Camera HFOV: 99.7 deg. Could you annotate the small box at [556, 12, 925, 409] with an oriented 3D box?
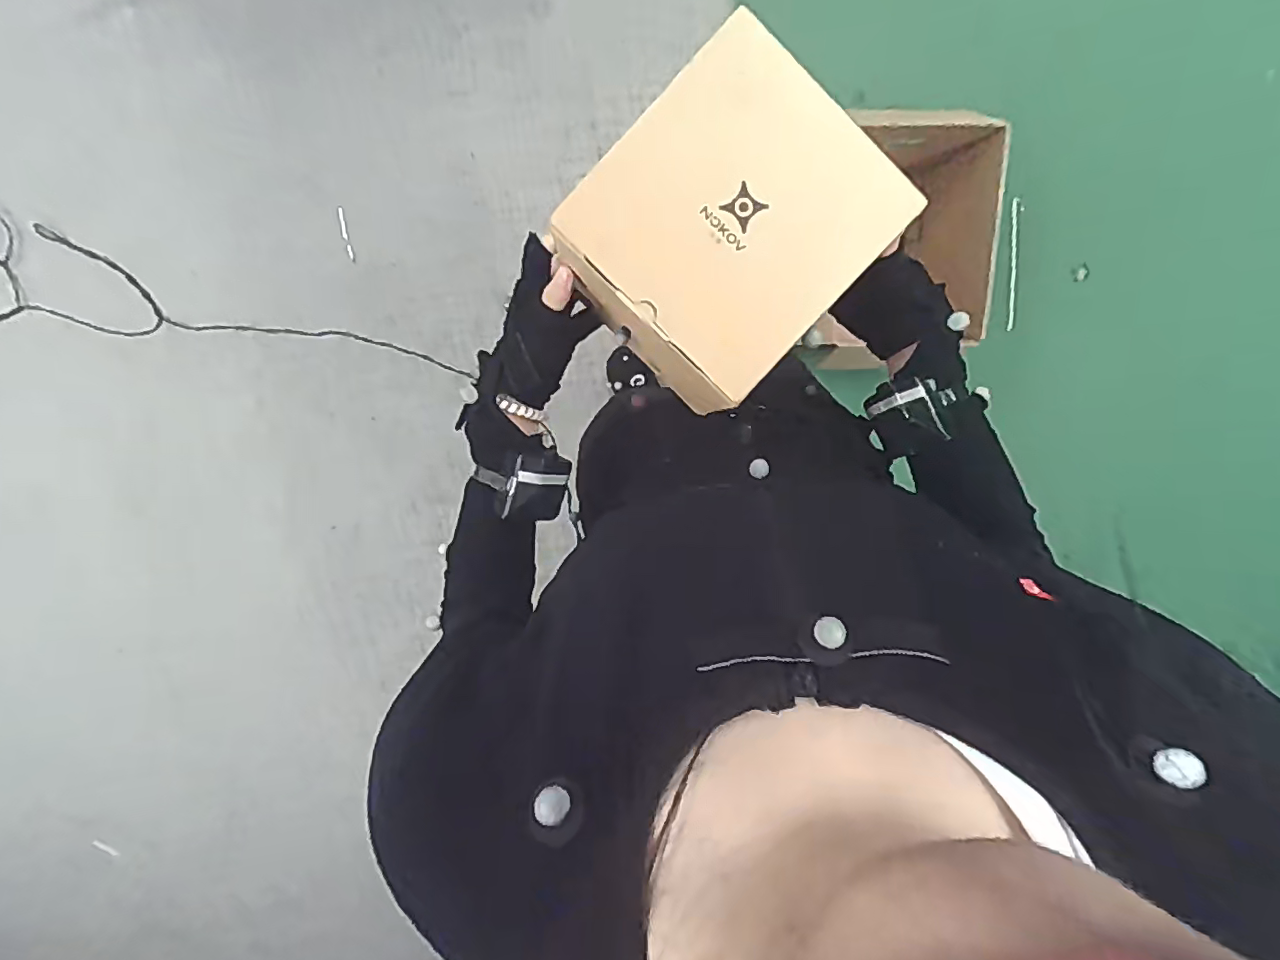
[{"bbox_3d":[0.060,-0.172,0.412,0.168,0.176,0.179,42,94,-5],"label":"small box"}]
